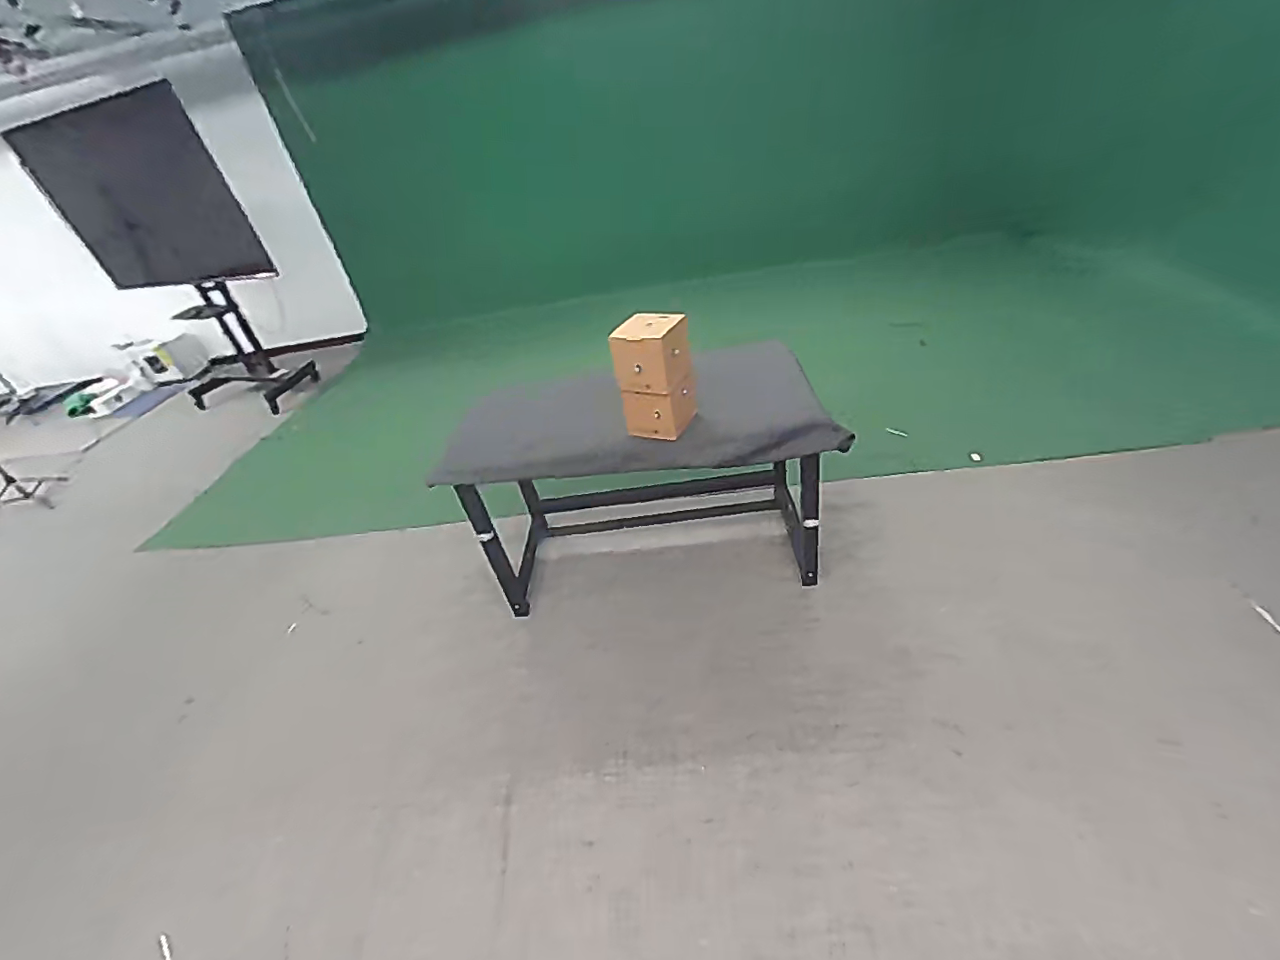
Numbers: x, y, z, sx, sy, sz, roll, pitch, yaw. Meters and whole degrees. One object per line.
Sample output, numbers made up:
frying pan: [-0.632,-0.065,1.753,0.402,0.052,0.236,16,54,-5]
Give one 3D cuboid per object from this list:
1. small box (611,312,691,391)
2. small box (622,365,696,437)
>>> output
small box: [0.041,-0.373,1.567,0.168,0.176,0.179,11,43,27]
small box: [0.067,-0.249,1.673,0.168,0.176,0.179,11,40,26]
